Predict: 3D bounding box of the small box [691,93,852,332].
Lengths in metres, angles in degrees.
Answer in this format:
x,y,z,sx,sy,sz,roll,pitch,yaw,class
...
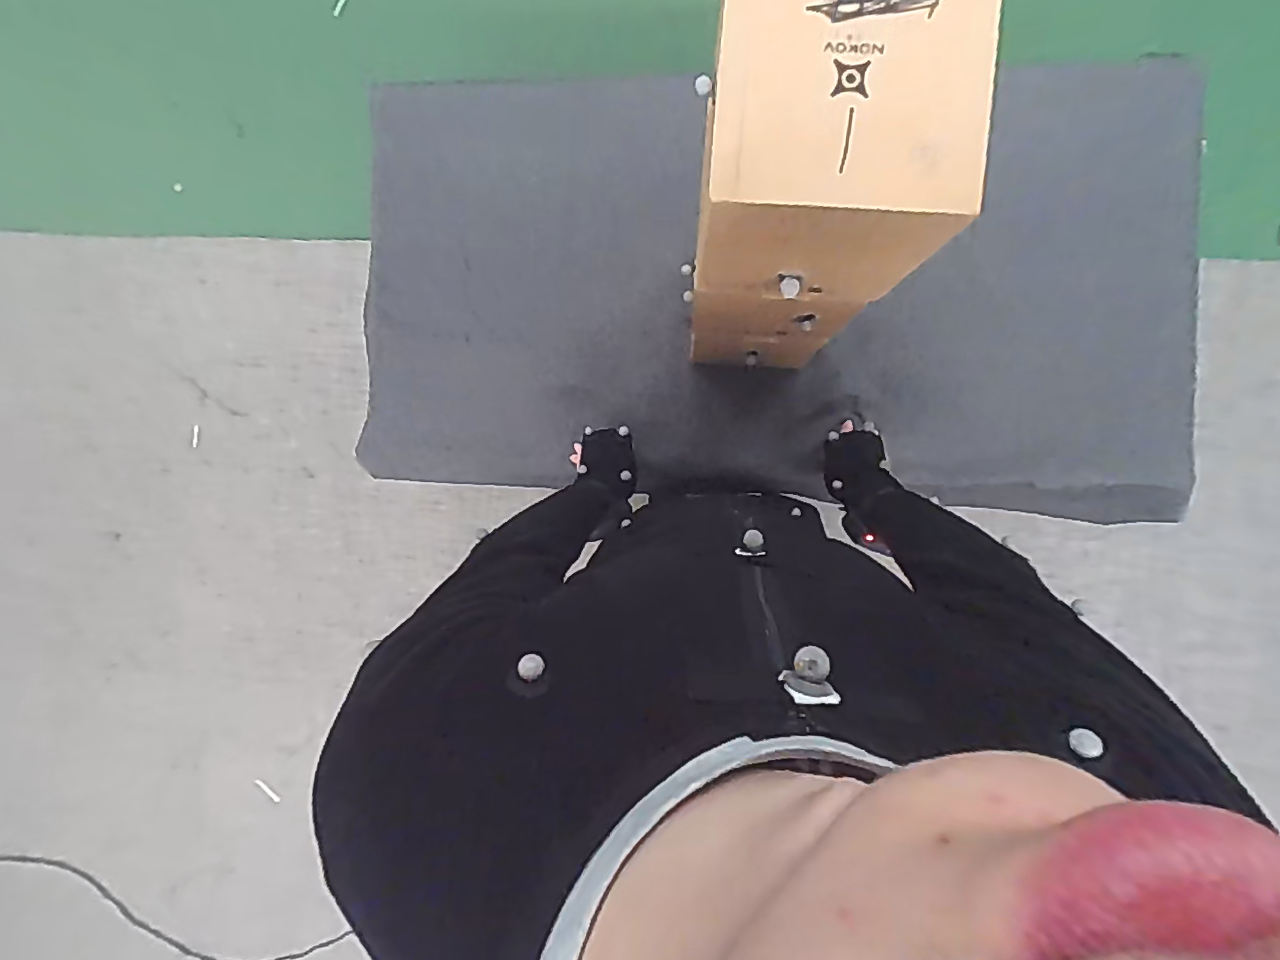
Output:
x,y,z,sx,sy,sz,roll,pitch,yaw,class
0.142,-0.262,0.567,0.168,0.176,0.179,3,91,3,small box

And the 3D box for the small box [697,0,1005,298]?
x,y,z,sx,sy,sz,roll,pitch,yaw,class
0.133,-0.253,0.403,0.168,0.176,0.179,5,93,4,small box

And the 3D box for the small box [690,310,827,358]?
x,y,z,sx,sy,sz,roll,pitch,yaw,class
0.157,-0.266,0.729,0.168,0.176,0.179,5,92,4,small box
